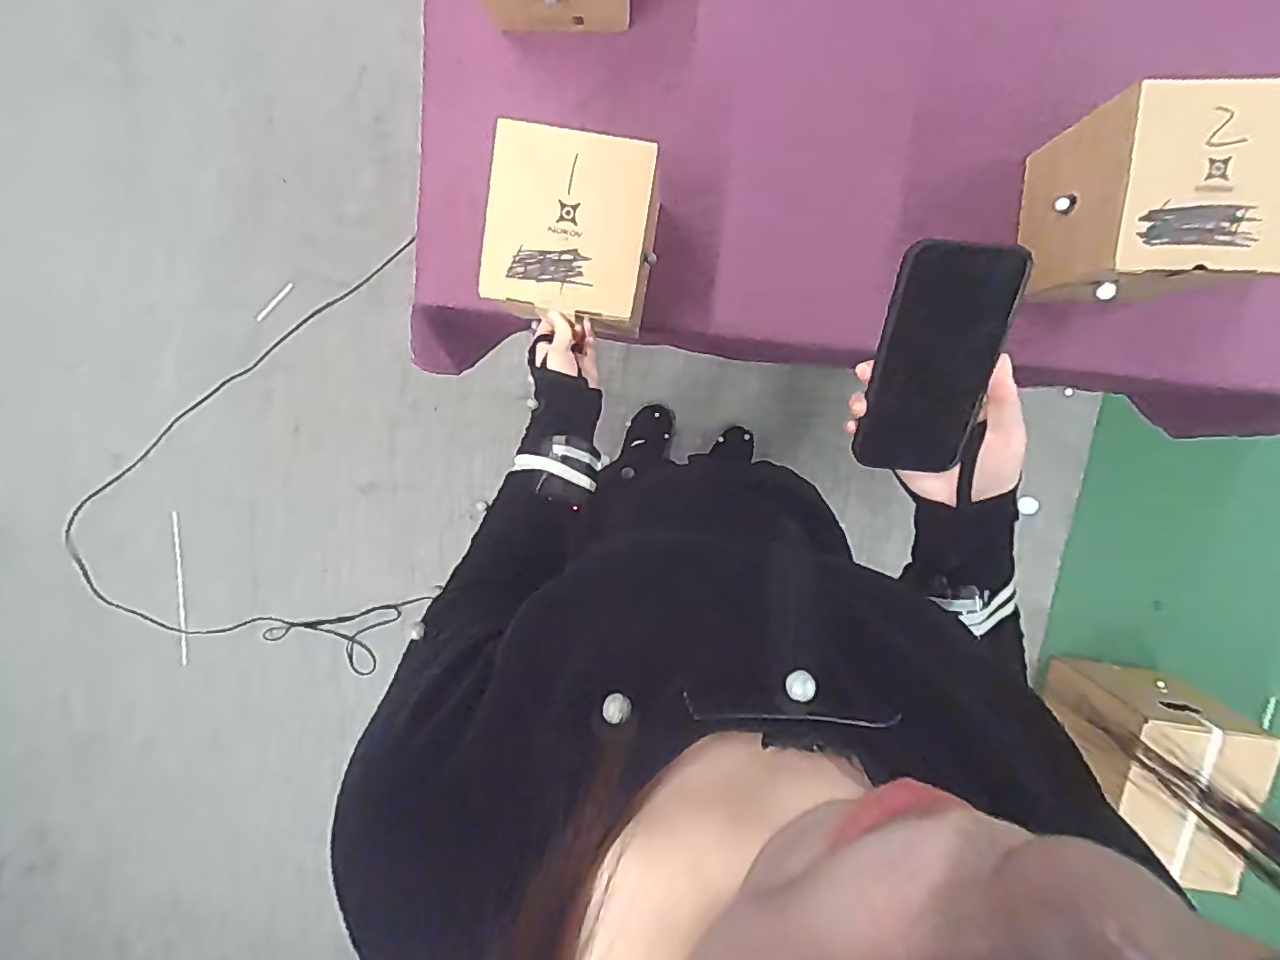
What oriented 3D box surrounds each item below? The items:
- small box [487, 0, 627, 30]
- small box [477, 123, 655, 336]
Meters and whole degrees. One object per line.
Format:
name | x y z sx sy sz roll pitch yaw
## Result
small box | -0.099 -0.626 0.579 0.168 0.176 0.179 2 100 2
small box | -0.075 -0.273 0.633 0.168 0.176 0.179 9 98 1
